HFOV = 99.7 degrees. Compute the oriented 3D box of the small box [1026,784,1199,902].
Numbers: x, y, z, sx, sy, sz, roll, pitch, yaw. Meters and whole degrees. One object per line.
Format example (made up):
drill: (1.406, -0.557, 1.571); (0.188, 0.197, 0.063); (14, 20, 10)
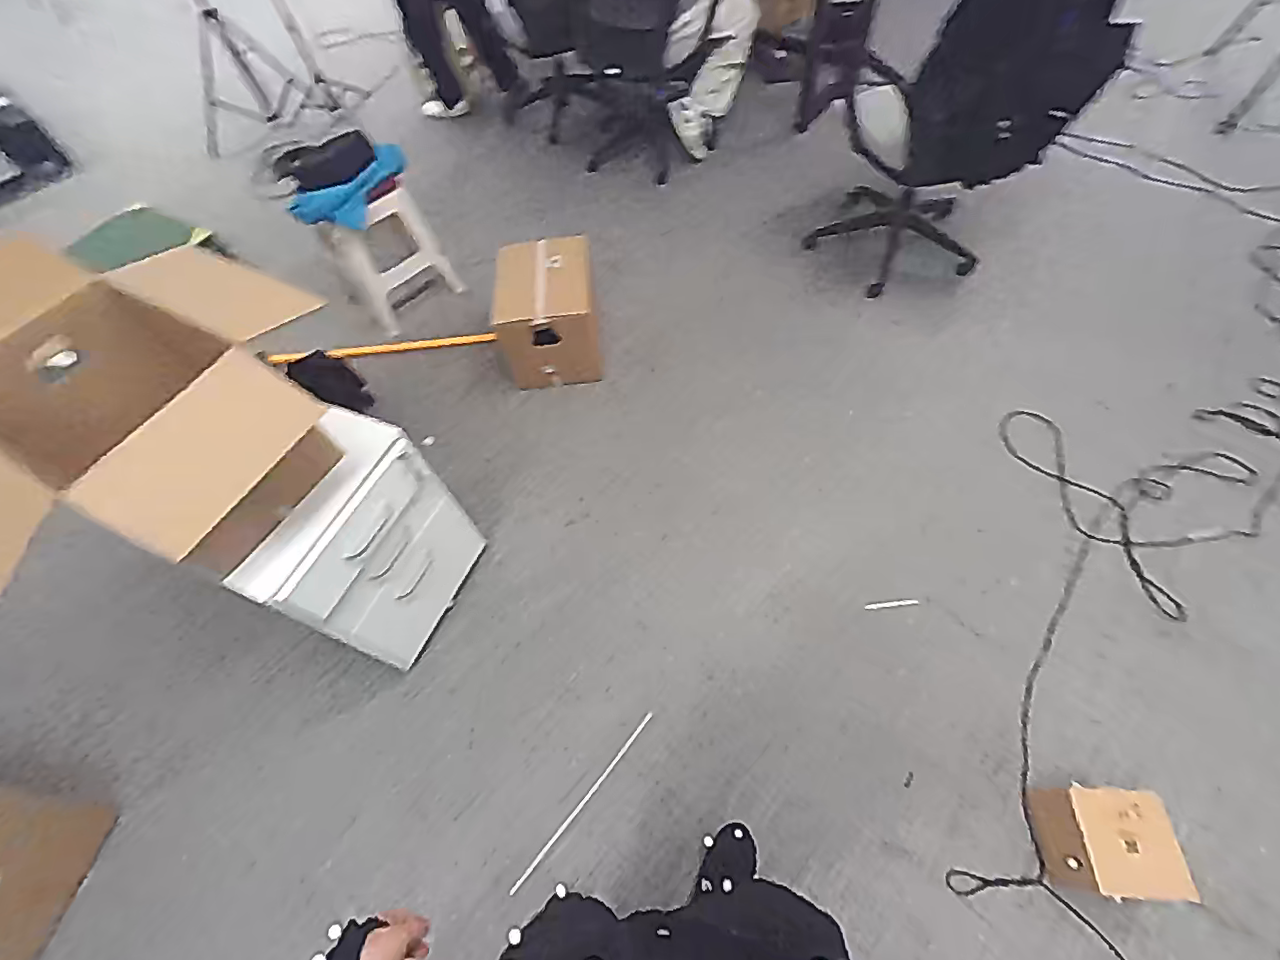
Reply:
small box: (0.913, 0.708, 1.067); (0.168, 0.176, 0.179); (0, 58, 5)
